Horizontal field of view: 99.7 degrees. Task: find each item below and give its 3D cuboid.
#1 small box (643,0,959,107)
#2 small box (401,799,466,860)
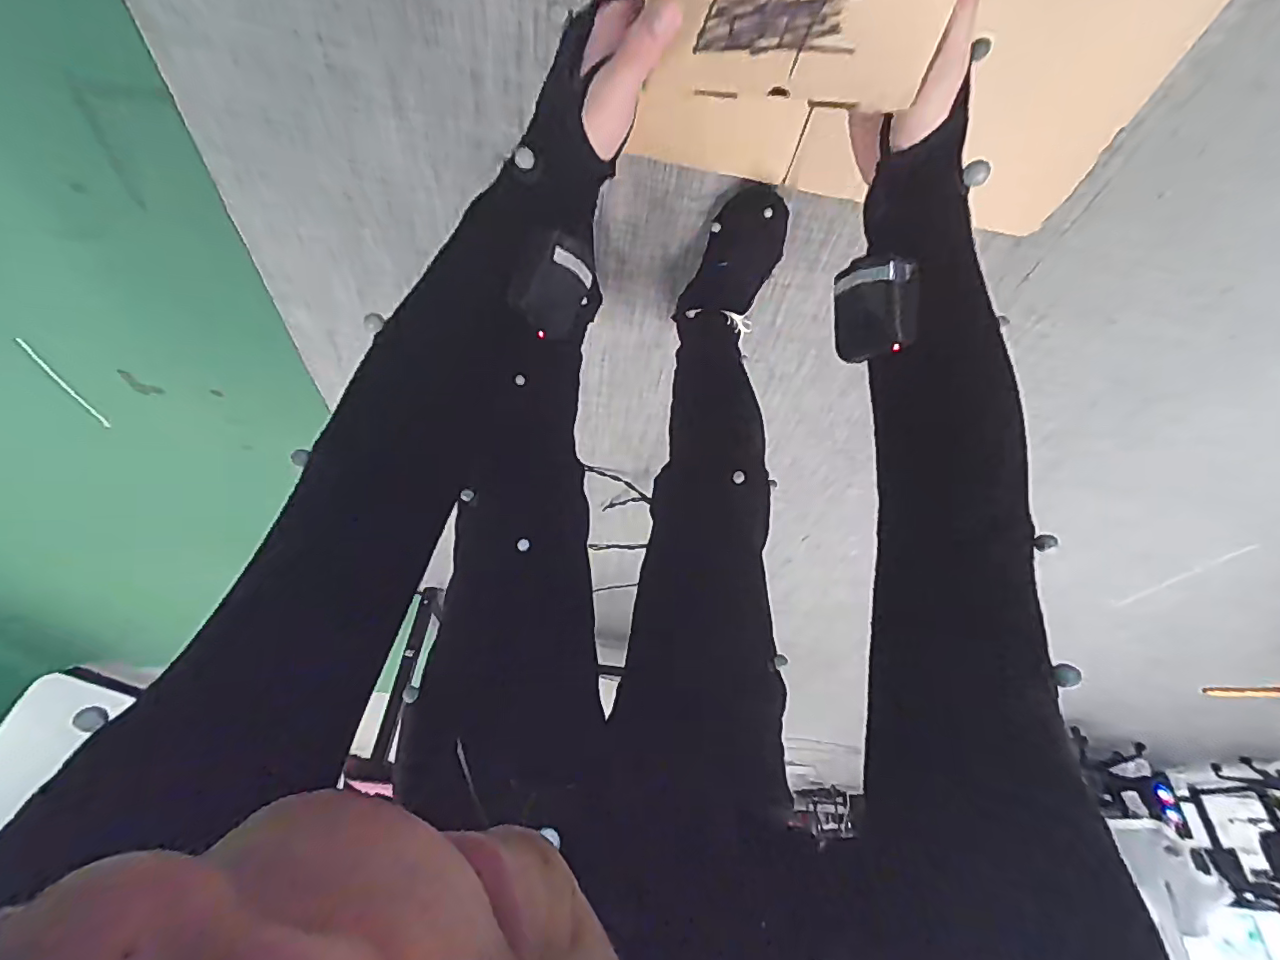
[{"bbox_3d":[0.093,-0.345,0.292,0.168,0.176,0.179,3,149,-2],"label":"small box"},{"bbox_3d":[-0.748,1.277,1.979,0.168,0.176,0.179,6,147,-3],"label":"small box"}]
